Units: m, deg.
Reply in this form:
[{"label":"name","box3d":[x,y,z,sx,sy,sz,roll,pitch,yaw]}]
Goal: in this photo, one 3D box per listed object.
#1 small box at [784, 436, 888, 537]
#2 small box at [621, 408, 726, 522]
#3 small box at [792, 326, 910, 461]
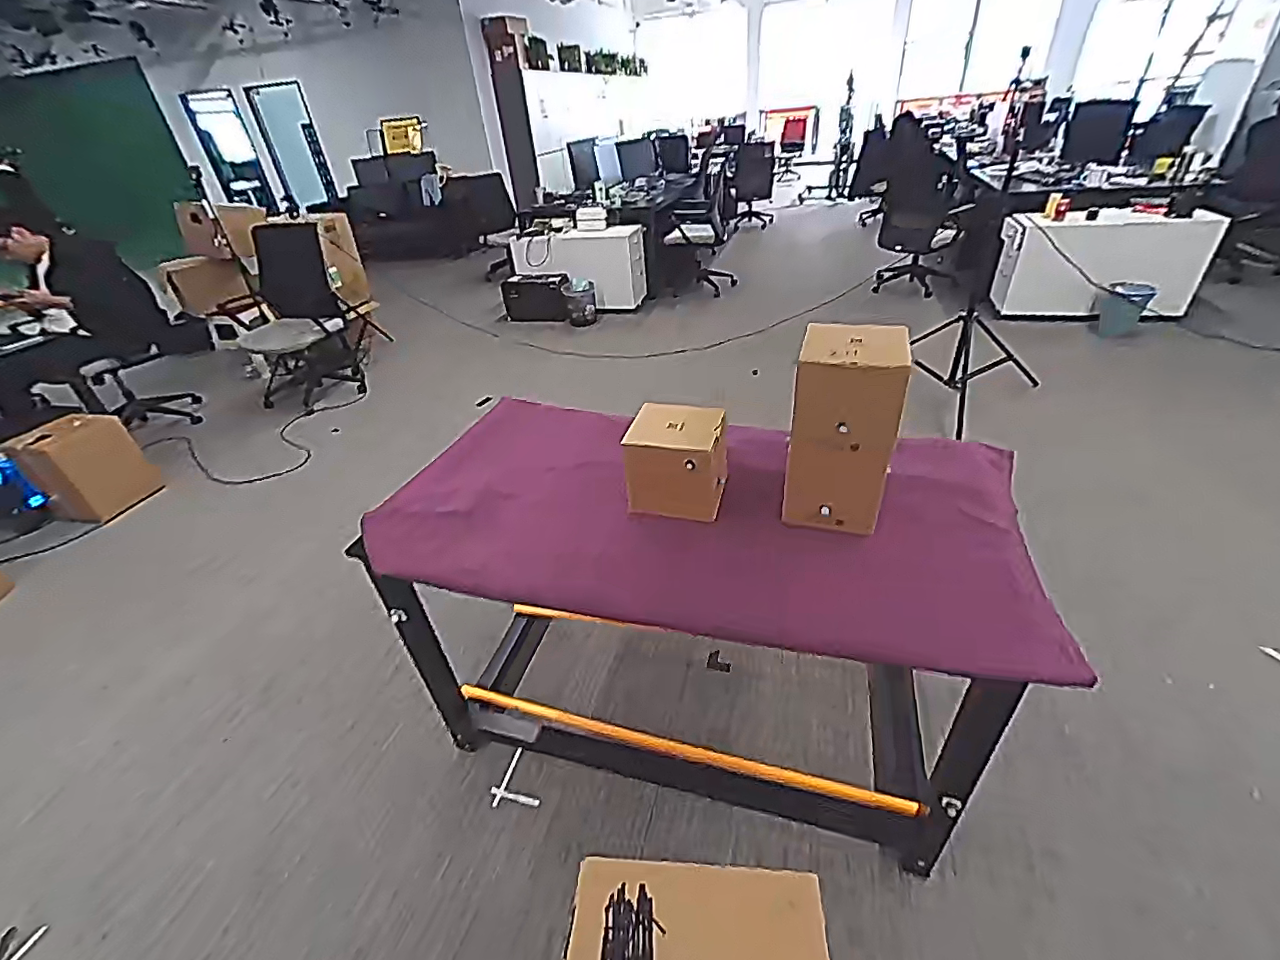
[{"label":"small box","box3d":[0.370,-0.019,1.029,0.168,0.176,0.179,8,37,19]},{"label":"small box","box3d":[0.075,-0.032,1.093,0.179,0.176,0.168,6,36,16]},{"label":"small box","box3d":[0.360,-0.154,0.934,0.168,0.176,0.179,7,37,19]}]
